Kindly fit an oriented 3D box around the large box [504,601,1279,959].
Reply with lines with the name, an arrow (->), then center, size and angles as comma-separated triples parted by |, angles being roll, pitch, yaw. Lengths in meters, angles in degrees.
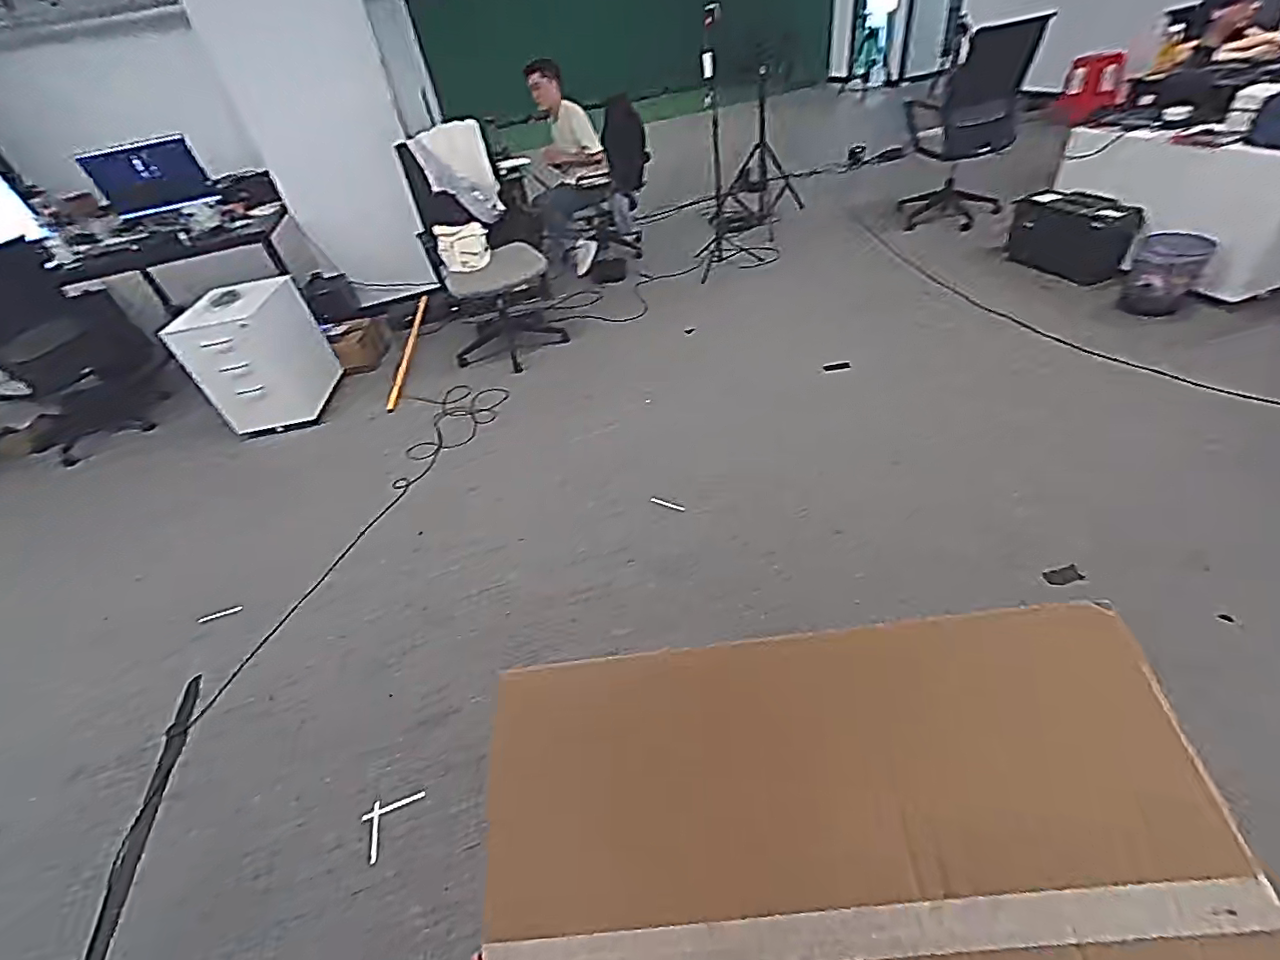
large box -> 0.136, 0.316, 0.418 | 0.408, 0.320, 0.320 | -9, 60, 4
